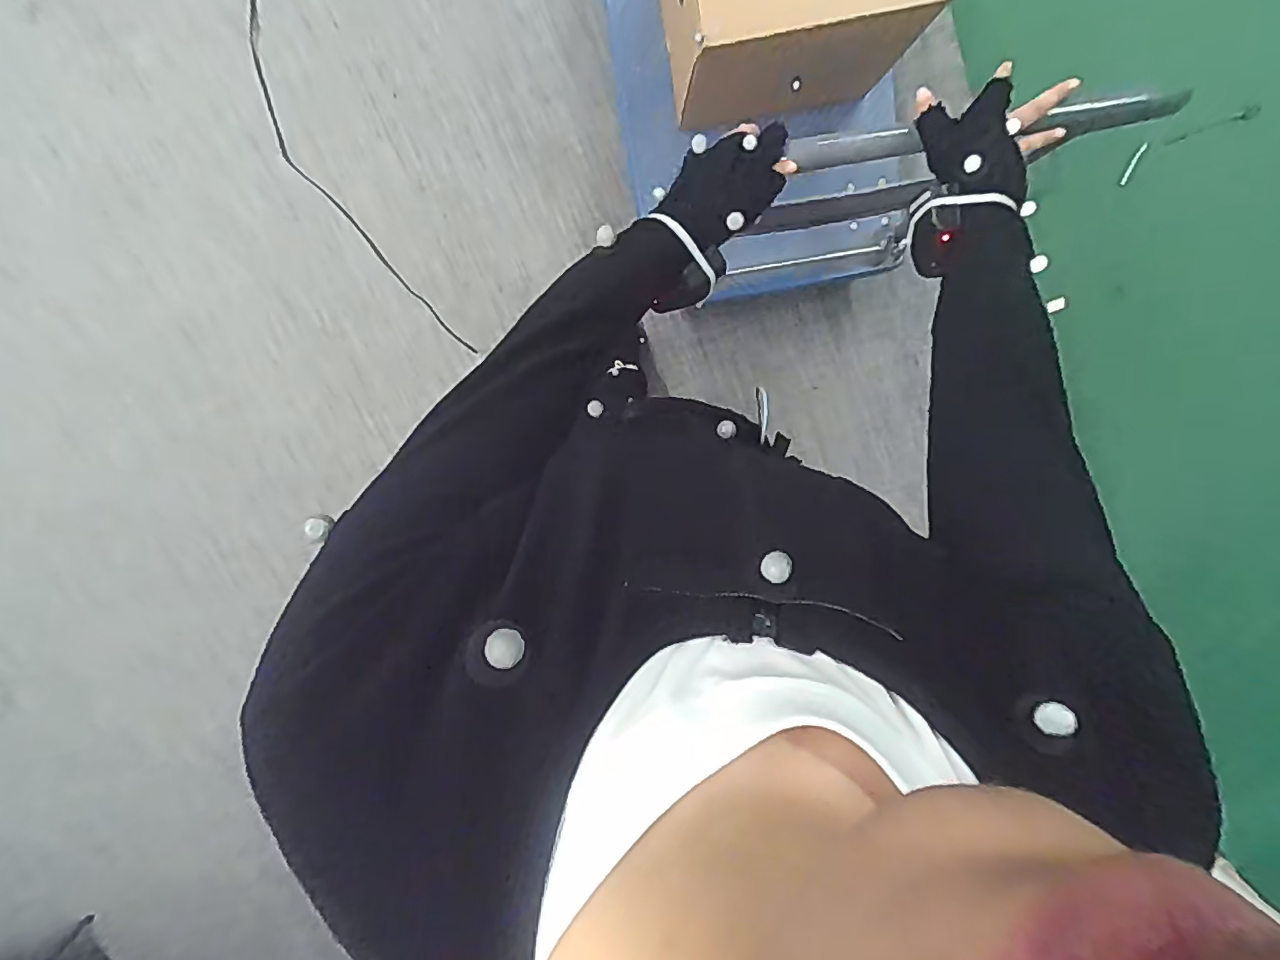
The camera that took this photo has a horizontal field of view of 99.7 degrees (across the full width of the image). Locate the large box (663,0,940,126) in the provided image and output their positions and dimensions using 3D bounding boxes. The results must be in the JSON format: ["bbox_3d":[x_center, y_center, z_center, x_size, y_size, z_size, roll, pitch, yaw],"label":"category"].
[{"bbox_3d":[0.261,-0.901,0.970,0.408,0.320,0.320,-11,102,1],"label":"large box"}]
